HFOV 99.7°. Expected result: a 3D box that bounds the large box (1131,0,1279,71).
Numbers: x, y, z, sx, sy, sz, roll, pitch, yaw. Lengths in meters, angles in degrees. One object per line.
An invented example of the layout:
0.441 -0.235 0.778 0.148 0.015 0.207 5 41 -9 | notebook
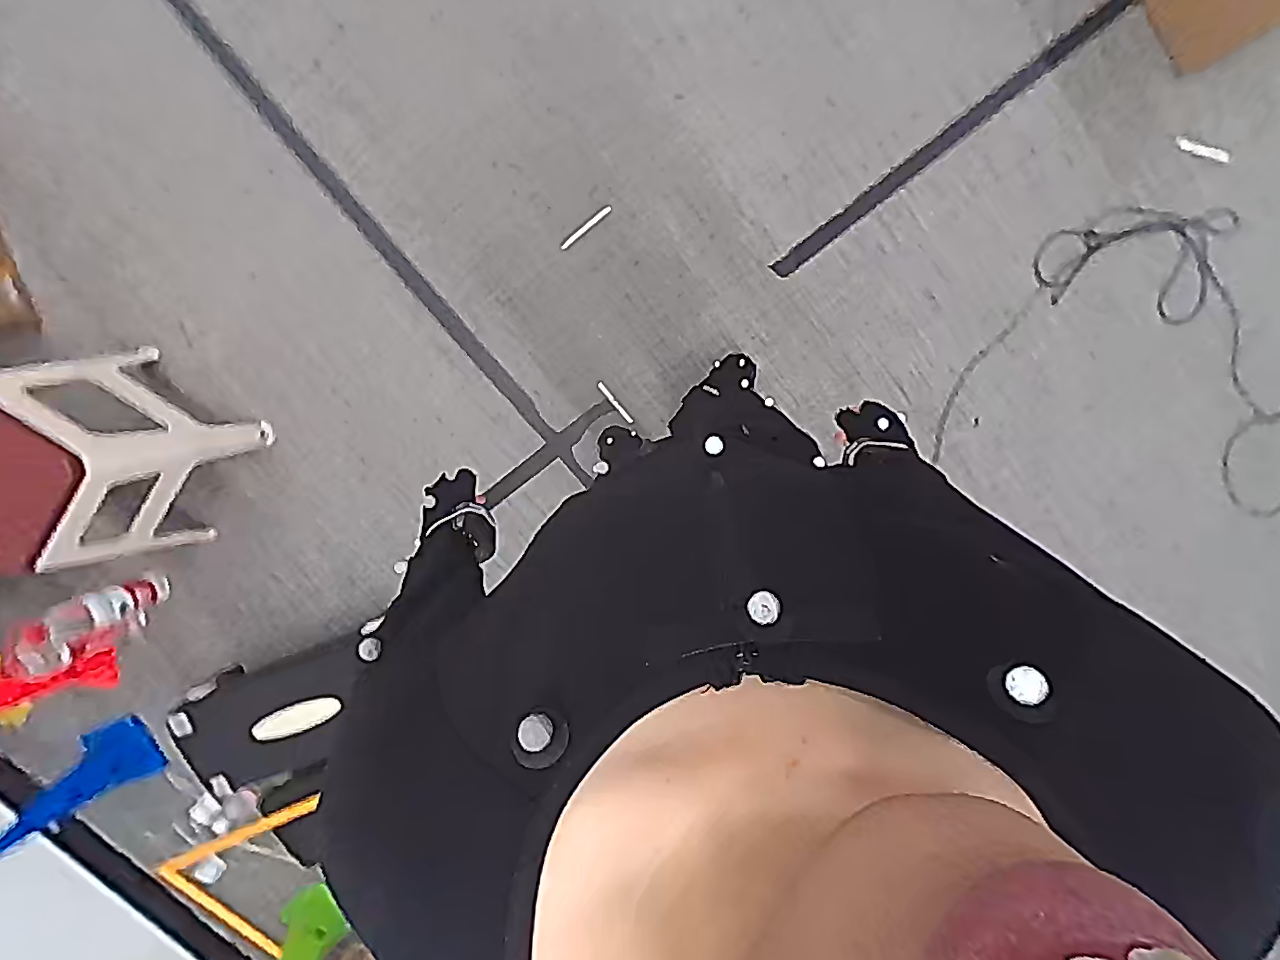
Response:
1.290 -1.210 1.132 0.320 0.320 0.408 -40 100 7 | large box
